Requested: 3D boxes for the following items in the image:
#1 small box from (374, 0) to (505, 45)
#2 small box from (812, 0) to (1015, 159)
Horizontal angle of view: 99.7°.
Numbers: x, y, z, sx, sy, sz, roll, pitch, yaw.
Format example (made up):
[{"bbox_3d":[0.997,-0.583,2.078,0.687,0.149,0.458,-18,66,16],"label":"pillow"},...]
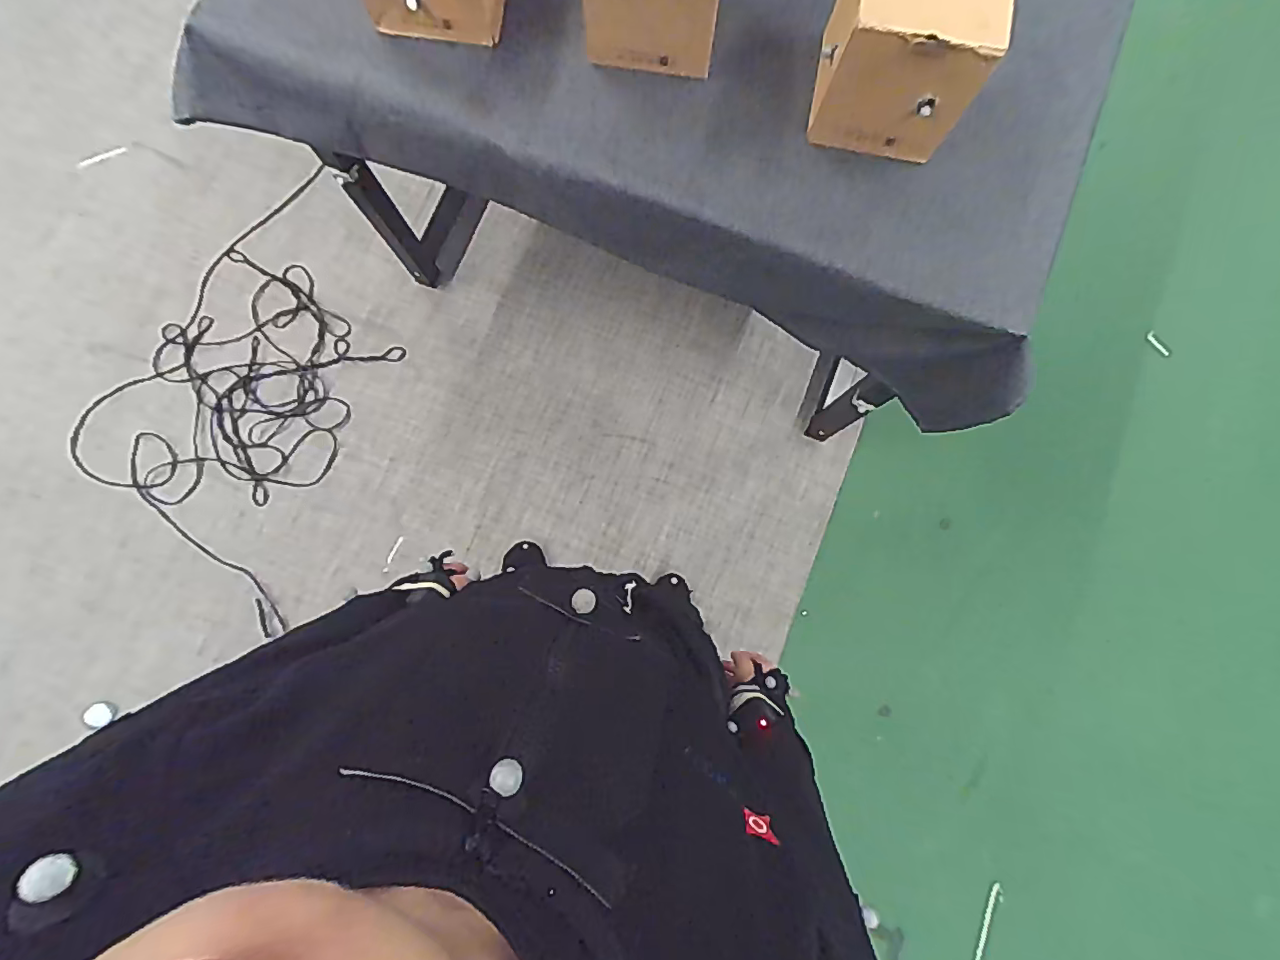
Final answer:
[{"bbox_3d":[-0.263,-0.702,0.672,0.168,0.176,0.179,7,82,-1],"label":"small box"},{"bbox_3d":[0.323,-0.536,0.661,0.168,0.176,0.179,11,81,-1],"label":"small box"}]
